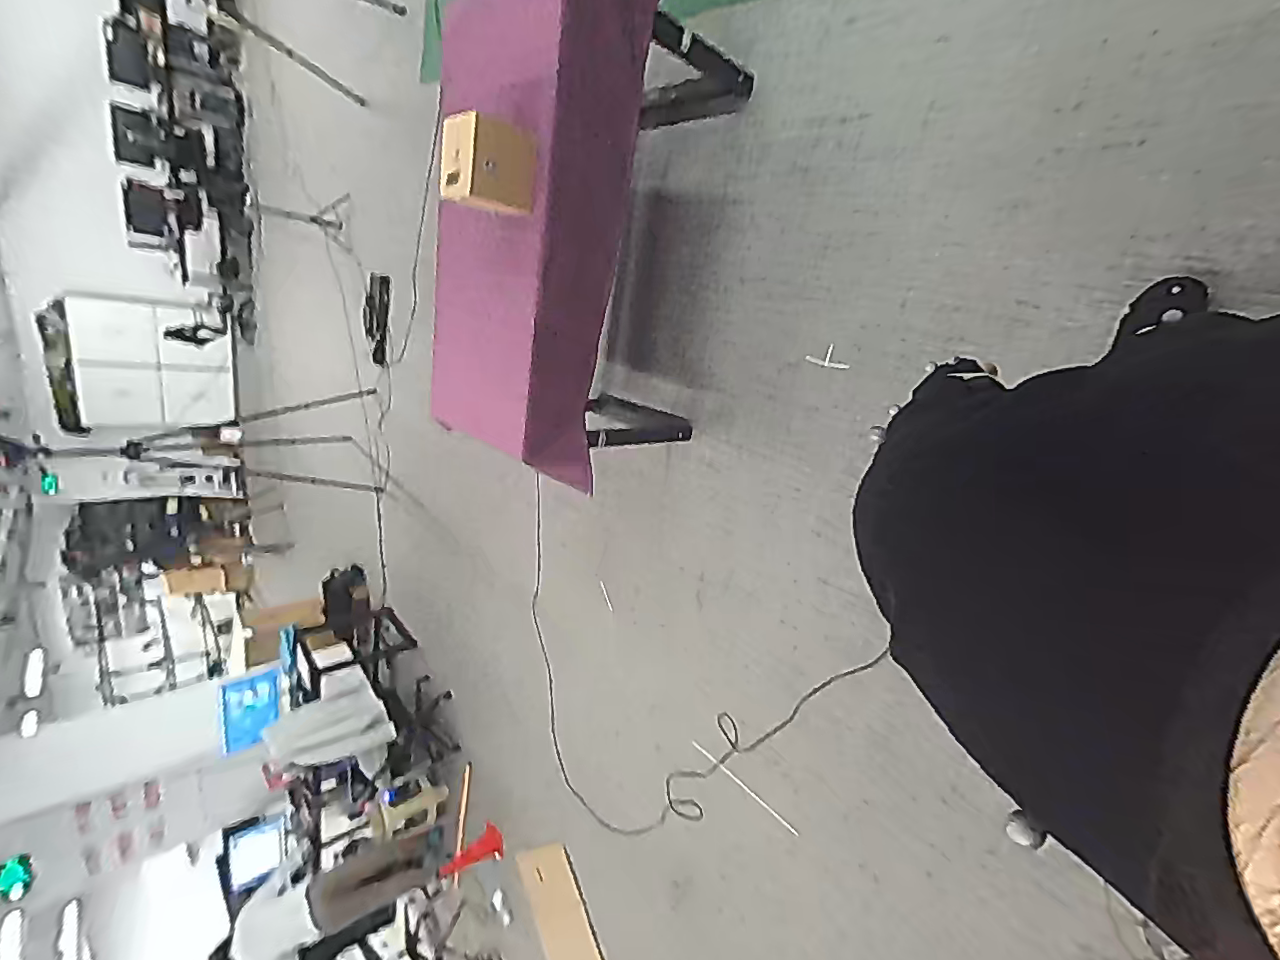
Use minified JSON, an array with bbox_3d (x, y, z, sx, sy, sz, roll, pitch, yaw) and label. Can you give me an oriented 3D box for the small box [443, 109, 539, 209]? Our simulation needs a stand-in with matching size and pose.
[{"bbox_3d":[-0.368,-0.781,1.335,0.168,0.176,0.179,26,113,41],"label":"small box"}]
